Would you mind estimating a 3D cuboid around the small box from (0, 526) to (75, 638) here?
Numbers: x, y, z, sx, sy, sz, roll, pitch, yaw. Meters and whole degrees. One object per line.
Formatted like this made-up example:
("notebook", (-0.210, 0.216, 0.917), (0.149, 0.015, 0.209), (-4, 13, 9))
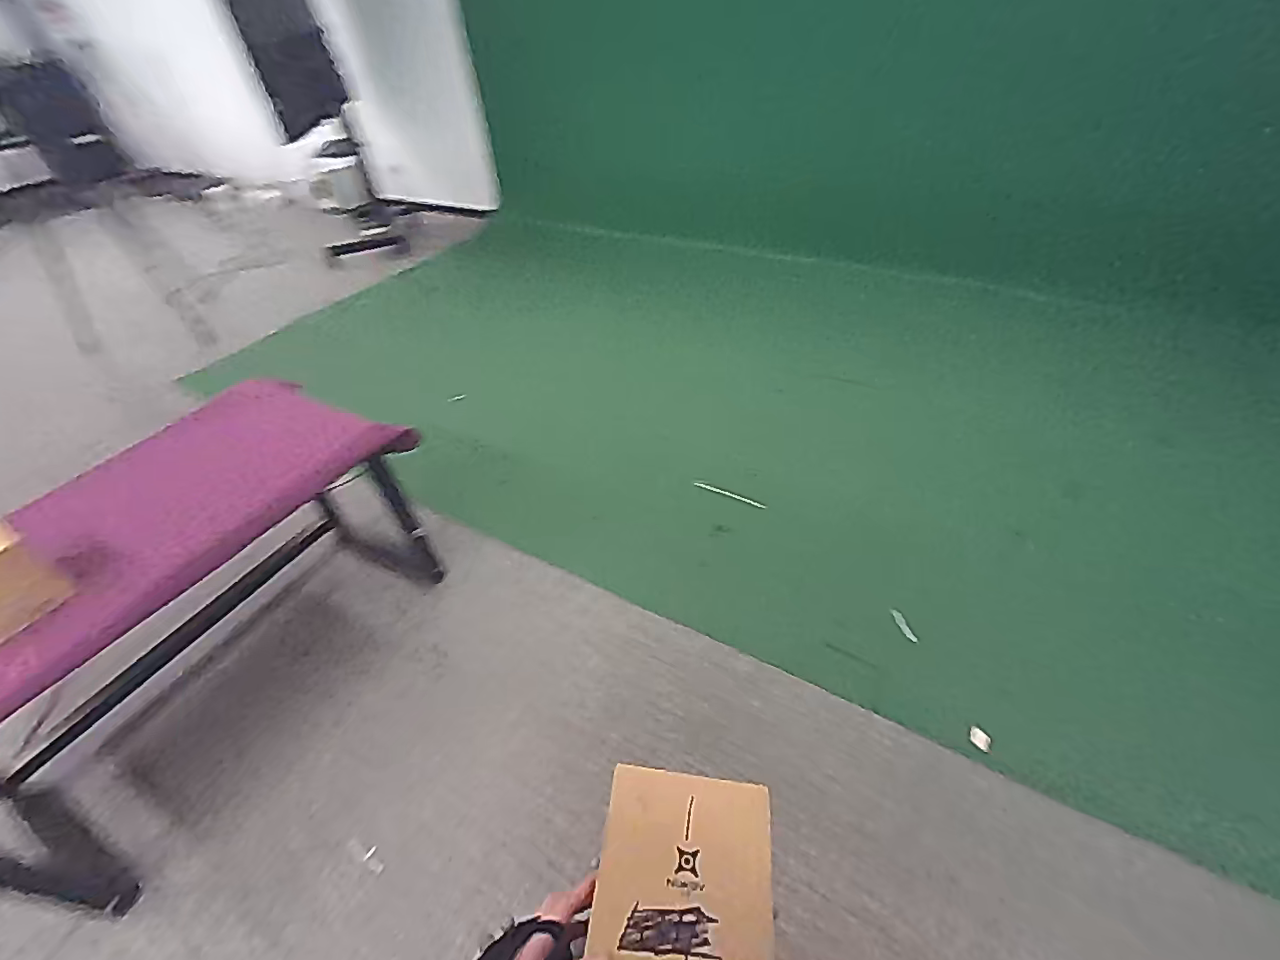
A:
("small box", (-1.343, 0.201, 1.106), (0.179, 0.176, 0.168), (18, 48, 22))
